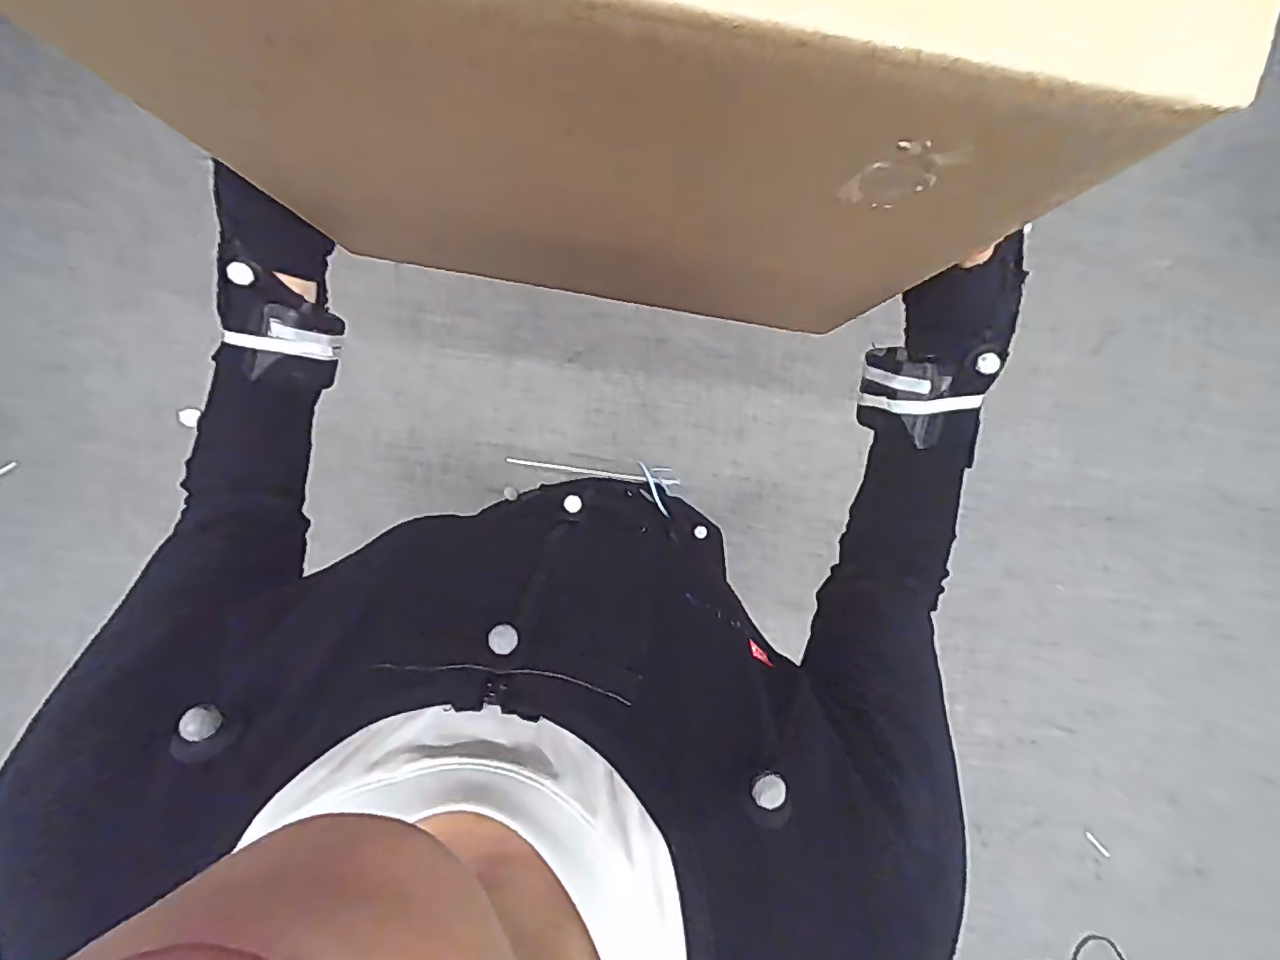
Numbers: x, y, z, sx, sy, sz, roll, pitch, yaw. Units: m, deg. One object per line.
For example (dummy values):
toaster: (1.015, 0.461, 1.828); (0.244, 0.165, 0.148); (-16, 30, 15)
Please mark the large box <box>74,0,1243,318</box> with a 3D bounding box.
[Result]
large box: (-0.004, -0.304, 0.292); (0.408, 0.320, 0.320); (9, 94, -4)
